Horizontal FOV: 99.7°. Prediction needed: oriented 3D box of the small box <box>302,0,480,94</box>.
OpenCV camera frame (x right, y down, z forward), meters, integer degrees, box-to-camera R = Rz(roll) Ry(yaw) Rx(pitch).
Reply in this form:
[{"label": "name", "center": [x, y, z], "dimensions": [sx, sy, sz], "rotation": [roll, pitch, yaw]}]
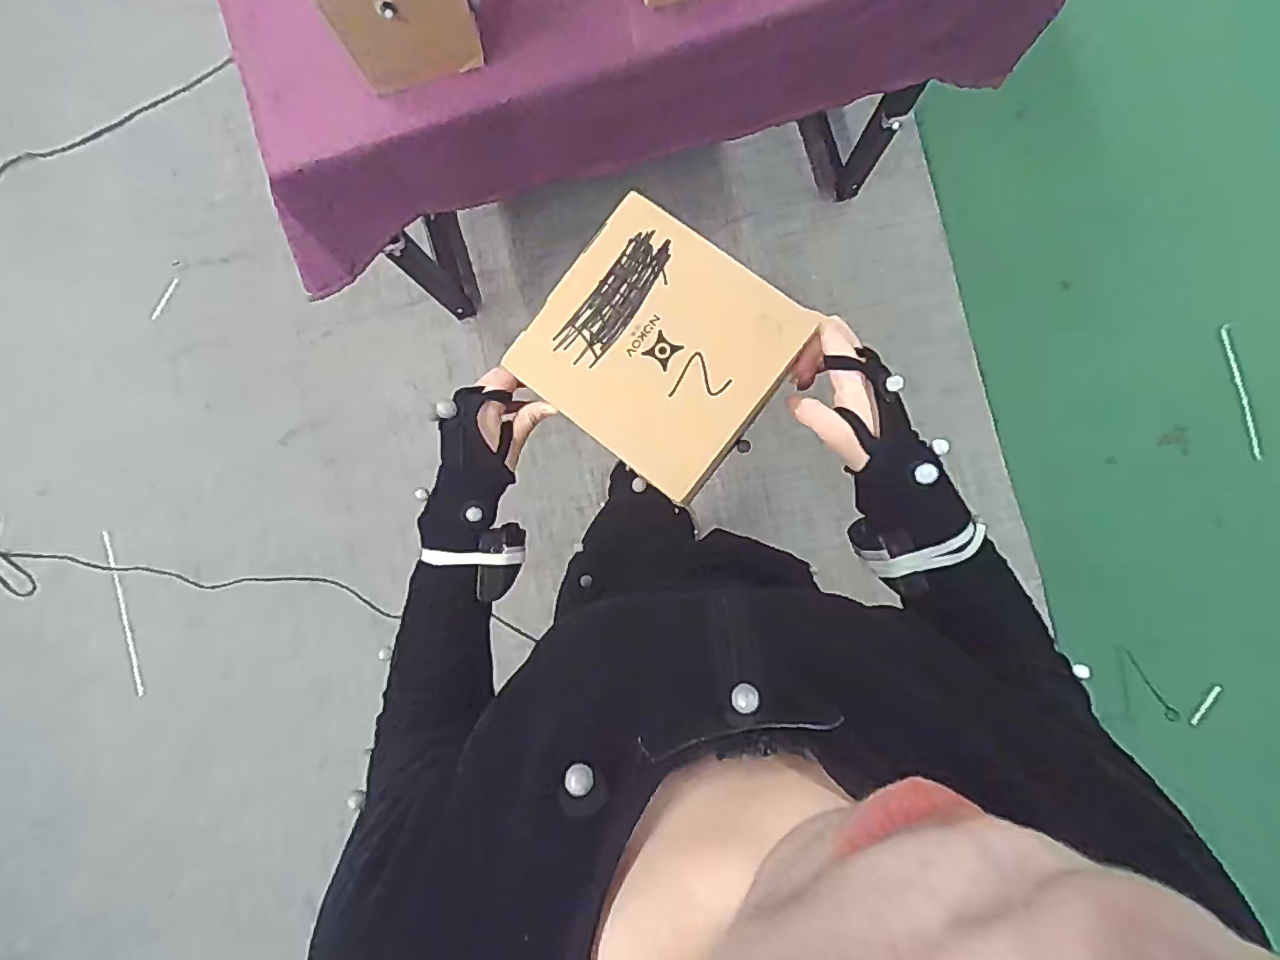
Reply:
[{"label": "small box", "center": [-0.341, -0.673, 0.736], "dimensions": [0.179, 0.176, 0.168], "rotation": [-13, 88, 1]}]
